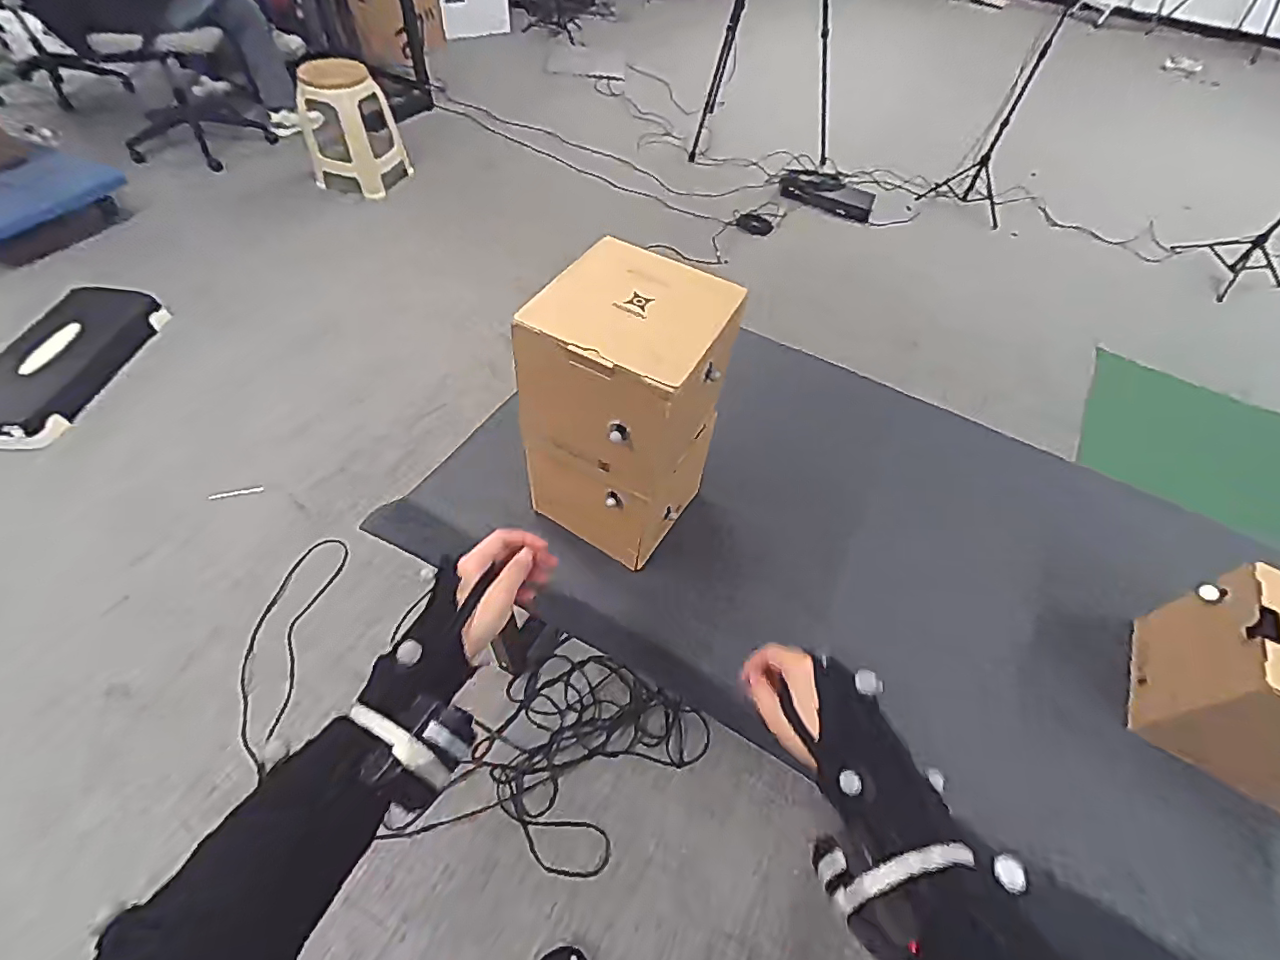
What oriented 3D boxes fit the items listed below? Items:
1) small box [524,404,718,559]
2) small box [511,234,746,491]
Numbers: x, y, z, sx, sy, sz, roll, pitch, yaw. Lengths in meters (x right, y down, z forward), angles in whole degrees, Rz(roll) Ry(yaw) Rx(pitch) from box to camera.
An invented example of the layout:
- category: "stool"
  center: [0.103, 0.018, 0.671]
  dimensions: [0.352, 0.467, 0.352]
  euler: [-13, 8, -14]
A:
- category: "small box"
  center: [-0.027, -0.028, 0.701]
  dimensions: [0.179, 0.176, 0.168]
  euler: [30, 55, 16]
- category: "small box"
  center: [-0.011, -0.118, 0.567]
  dimensions: [0.168, 0.176, 0.179]
  euler: [26, 54, 11]
